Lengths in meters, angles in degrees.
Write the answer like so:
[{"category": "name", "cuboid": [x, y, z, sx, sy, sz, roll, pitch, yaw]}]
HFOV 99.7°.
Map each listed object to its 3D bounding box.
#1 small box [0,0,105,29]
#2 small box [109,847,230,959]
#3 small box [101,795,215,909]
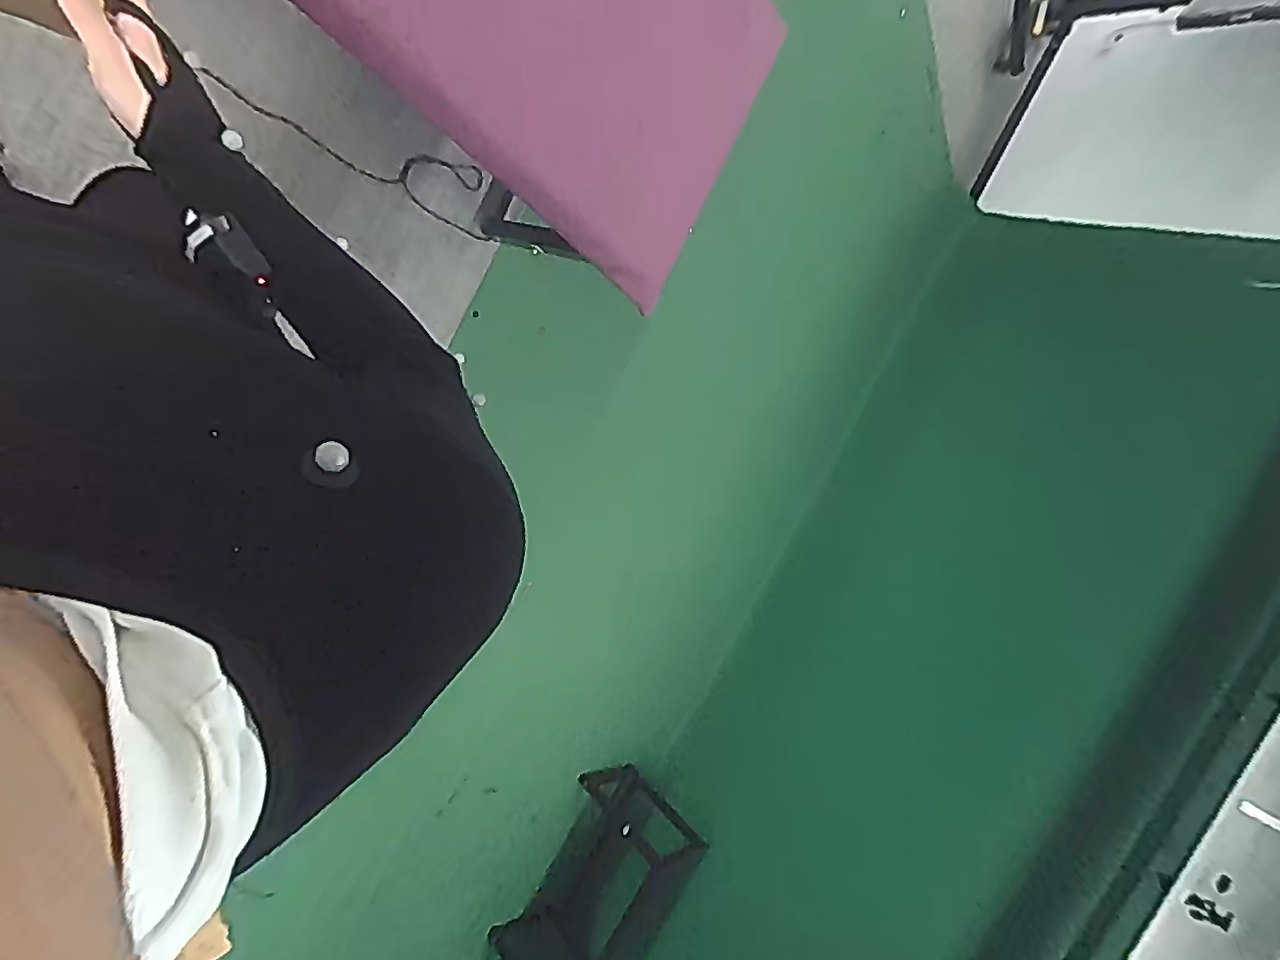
[{"category": "small box", "cuboid": [-0.489, -0.449, 0.366, 0.179, 0.176, 0.168, -3, 114, -48]}, {"category": "small box", "cuboid": [-1.062, 0.992, 1.220, 0.179, 0.176, 0.168, -17, 127, -41]}, {"category": "small box", "cuboid": [-1.175, 0.926, 1.320, 0.179, 0.176, 0.168, -20, 127, -40]}]
